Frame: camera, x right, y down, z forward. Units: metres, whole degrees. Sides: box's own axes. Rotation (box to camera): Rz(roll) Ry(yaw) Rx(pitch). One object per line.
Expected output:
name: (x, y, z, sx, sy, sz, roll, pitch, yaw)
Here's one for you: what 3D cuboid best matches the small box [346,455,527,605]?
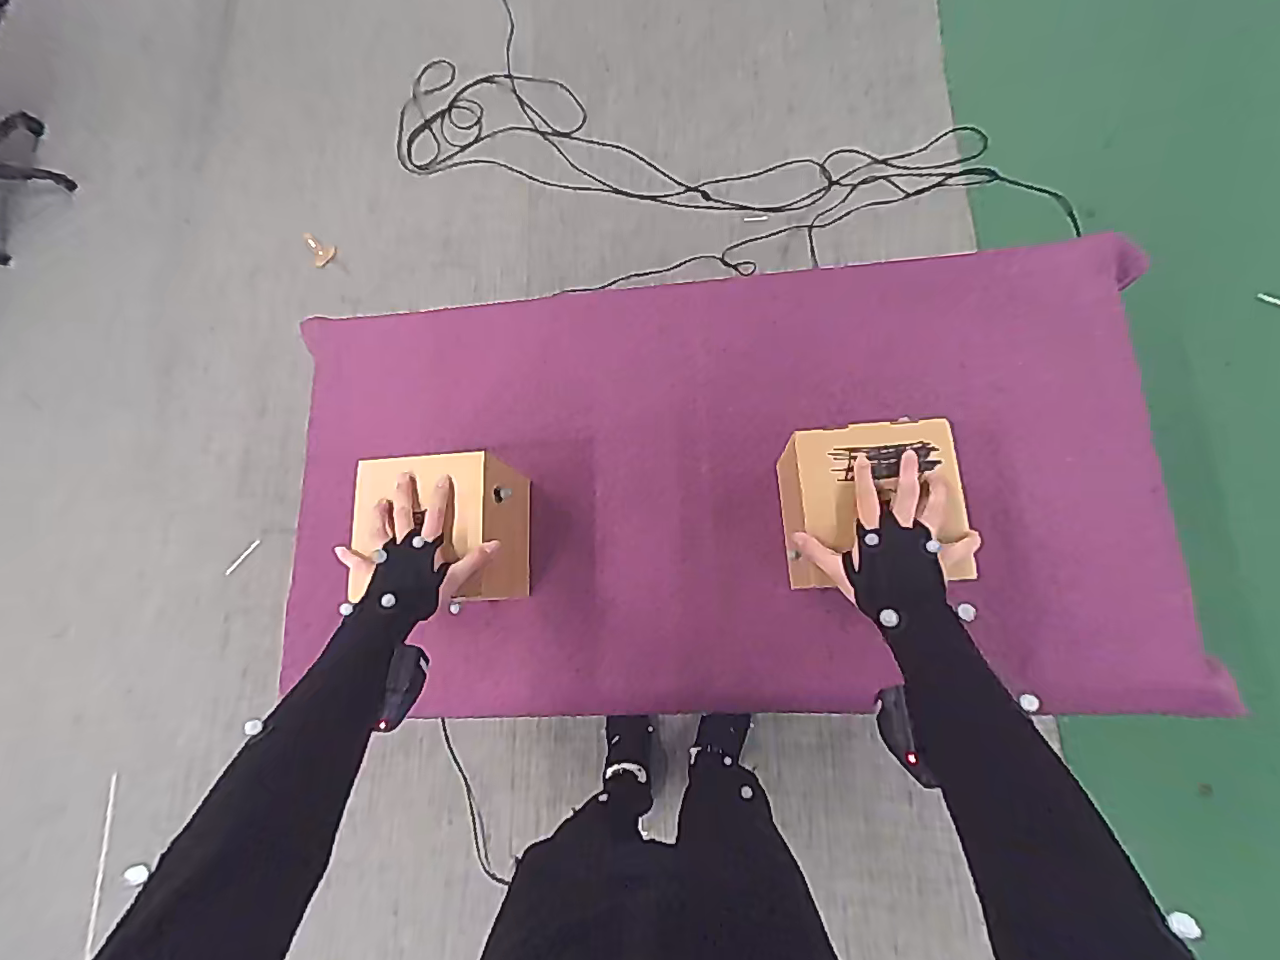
small box: (-0.257, 0.075, 0.725, 0.168, 0.176, 0.179, -4, 77, 8)
